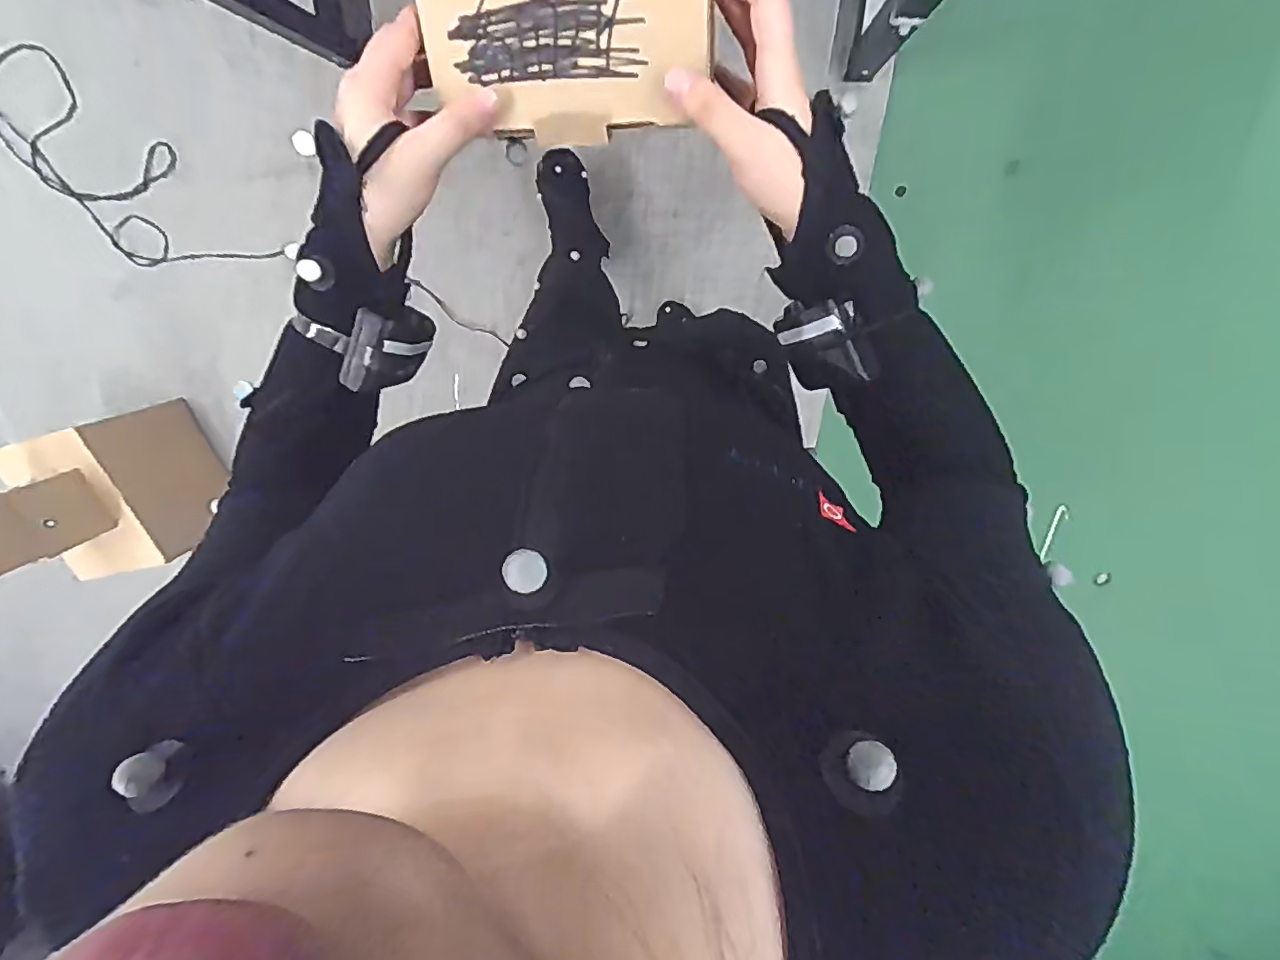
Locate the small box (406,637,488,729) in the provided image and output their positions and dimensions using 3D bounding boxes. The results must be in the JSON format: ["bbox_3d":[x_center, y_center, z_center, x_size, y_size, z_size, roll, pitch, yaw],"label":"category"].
[{"bbox_3d":[-0.547,0.583,1.561,0.168,0.176,0.179,3,113,3],"label":"small box"}]

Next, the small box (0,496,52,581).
[{"bbox_3d":[-1.495,0.146,1.195,0.168,0.176,0.179,-12,111,10],"label":"small box"}]

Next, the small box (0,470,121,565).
[{"bbox_3d":[-1.475,0.096,1.349,0.168,0.176,0.179,-12,110,11],"label":"small box"}]
